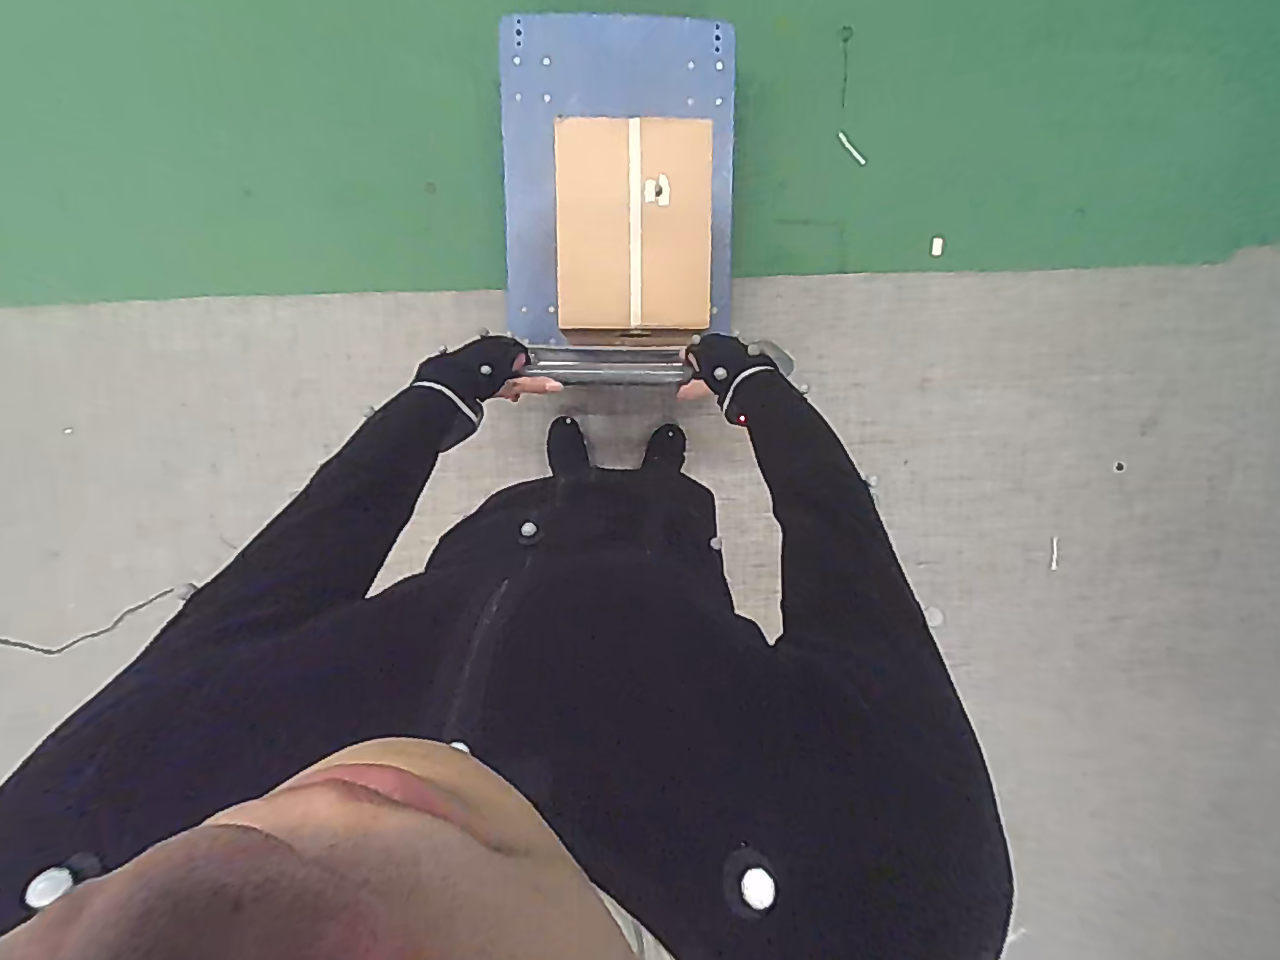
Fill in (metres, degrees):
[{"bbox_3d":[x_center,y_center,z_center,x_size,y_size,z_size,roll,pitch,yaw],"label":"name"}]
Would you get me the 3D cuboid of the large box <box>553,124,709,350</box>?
[{"bbox_3d":[-0.020,-0.521,1.238,0.320,0.320,0.408,-1,97,-3],"label":"large box"}]
